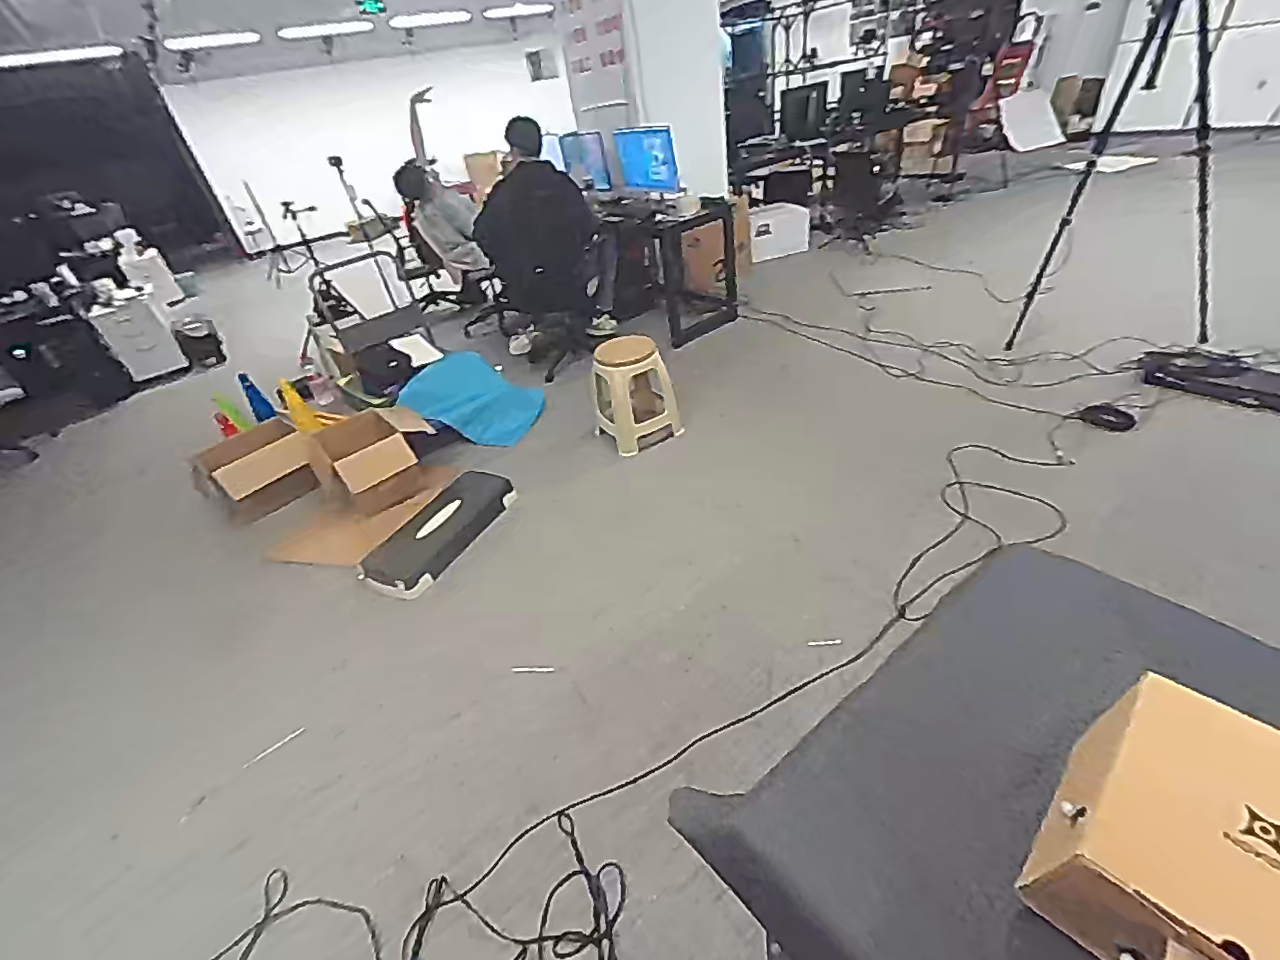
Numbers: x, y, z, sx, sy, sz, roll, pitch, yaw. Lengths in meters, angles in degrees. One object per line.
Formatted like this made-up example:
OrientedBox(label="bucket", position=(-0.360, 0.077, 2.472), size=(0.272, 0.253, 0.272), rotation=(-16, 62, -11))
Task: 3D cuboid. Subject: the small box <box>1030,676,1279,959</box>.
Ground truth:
OrientedBox(label="small box", position=(0.445, 0.301, 0.425), size=(0.168, 0.176, 0.179), rotation=(28, 59, 36))
